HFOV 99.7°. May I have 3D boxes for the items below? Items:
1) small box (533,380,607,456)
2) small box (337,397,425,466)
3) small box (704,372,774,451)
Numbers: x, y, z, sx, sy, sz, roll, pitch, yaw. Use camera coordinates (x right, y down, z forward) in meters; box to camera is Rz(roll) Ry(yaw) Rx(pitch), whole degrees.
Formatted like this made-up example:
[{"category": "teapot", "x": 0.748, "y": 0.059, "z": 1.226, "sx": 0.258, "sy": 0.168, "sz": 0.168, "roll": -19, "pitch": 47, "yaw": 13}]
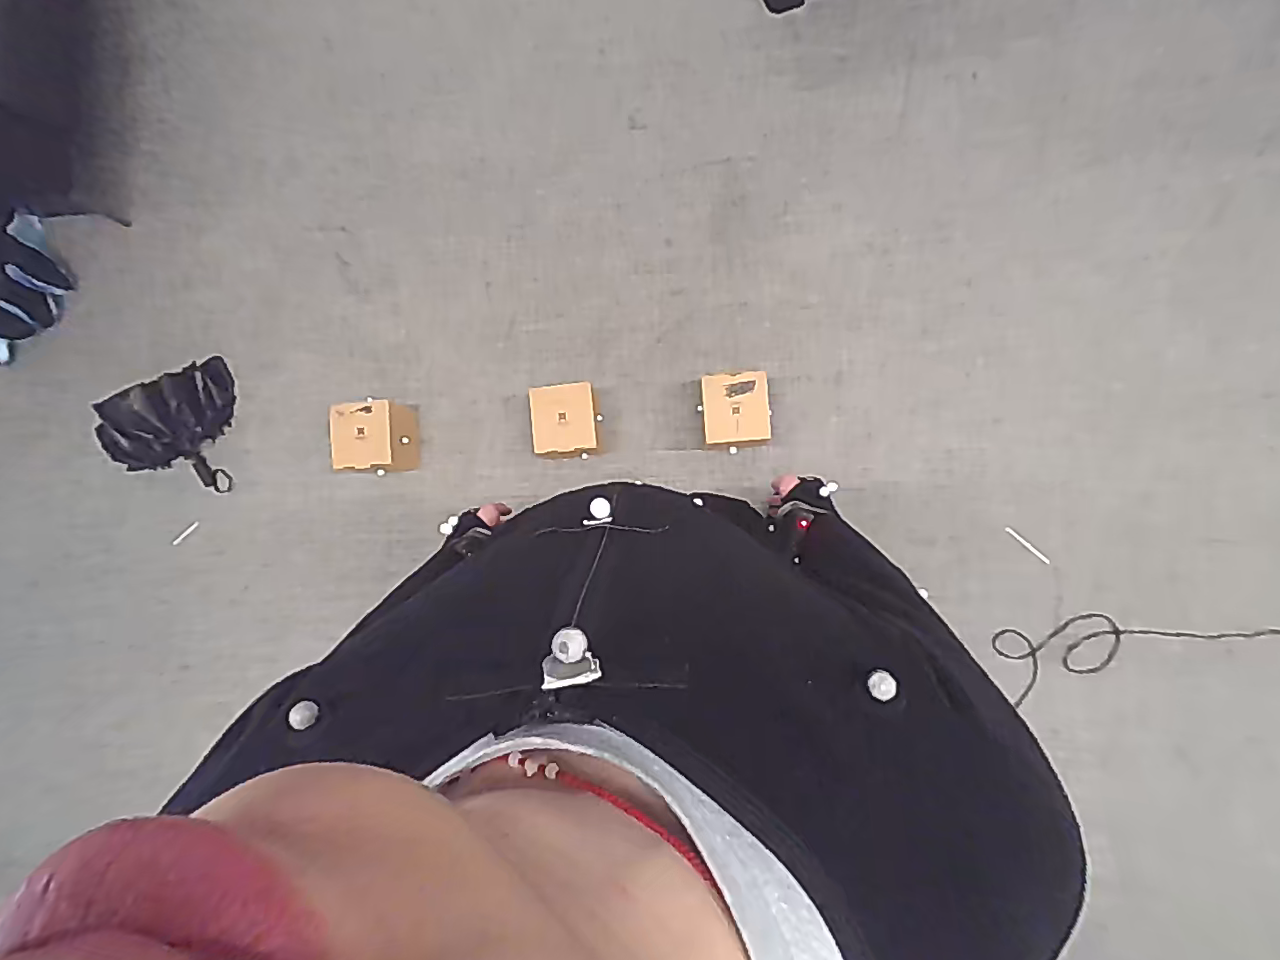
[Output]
[{"category": "small box", "x": -0.187, "y": -0.162, "z": 1.484, "sx": 0.168, "sy": 0.176, "sz": 0.179, "roll": -6, "pitch": 85, "yaw": 4}, {"category": "small box", "x": -0.726, "y": -0.131, "z": 1.530, "sx": 0.168, "sy": 0.176, "sz": 0.179, "roll": -4, "pitch": 87, "yaw": 4}, {"category": "small box", "x": 0.257, "y": -0.177, "z": 1.438, "sx": 0.168, "sy": 0.176, "sz": 0.179, "roll": -3, "pitch": 87, "yaw": 6}]
